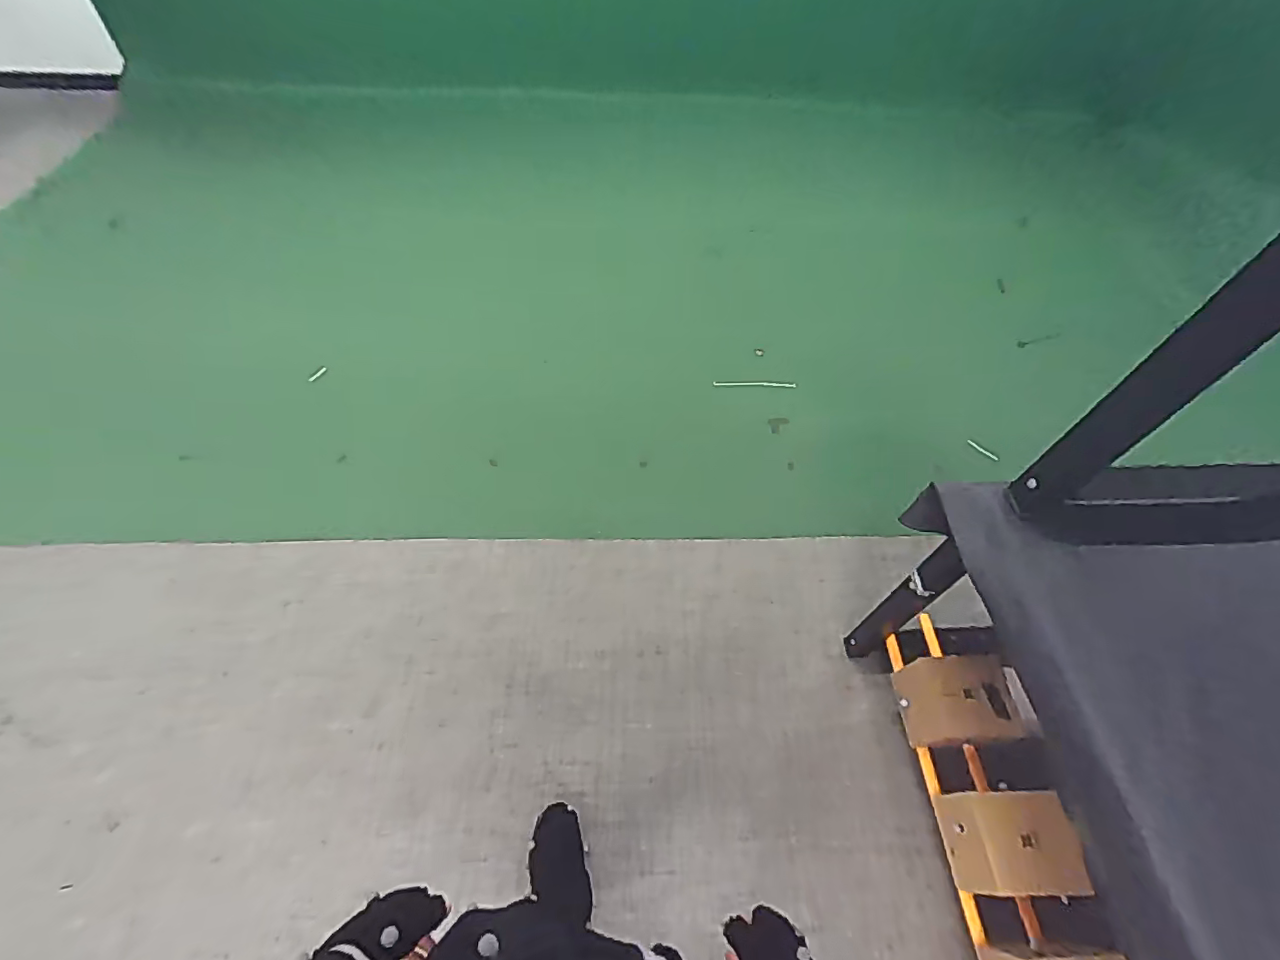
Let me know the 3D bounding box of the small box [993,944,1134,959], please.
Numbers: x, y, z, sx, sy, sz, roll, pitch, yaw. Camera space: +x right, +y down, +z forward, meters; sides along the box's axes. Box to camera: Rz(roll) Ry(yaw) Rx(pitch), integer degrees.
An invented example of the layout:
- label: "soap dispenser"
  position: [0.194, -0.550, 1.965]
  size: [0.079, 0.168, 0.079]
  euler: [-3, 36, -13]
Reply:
- label: "small box"
  position: [0.748, 0.918, 0.930]
  size: [0.179, 0.176, 0.168]
  euler: [-1, 55, -2]

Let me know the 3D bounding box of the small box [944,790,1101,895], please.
- label: "small box"
  position: [0.735, 0.716, 1.071]
  size: [0.179, 0.176, 0.168]
  euler: [0, 56, -1]
